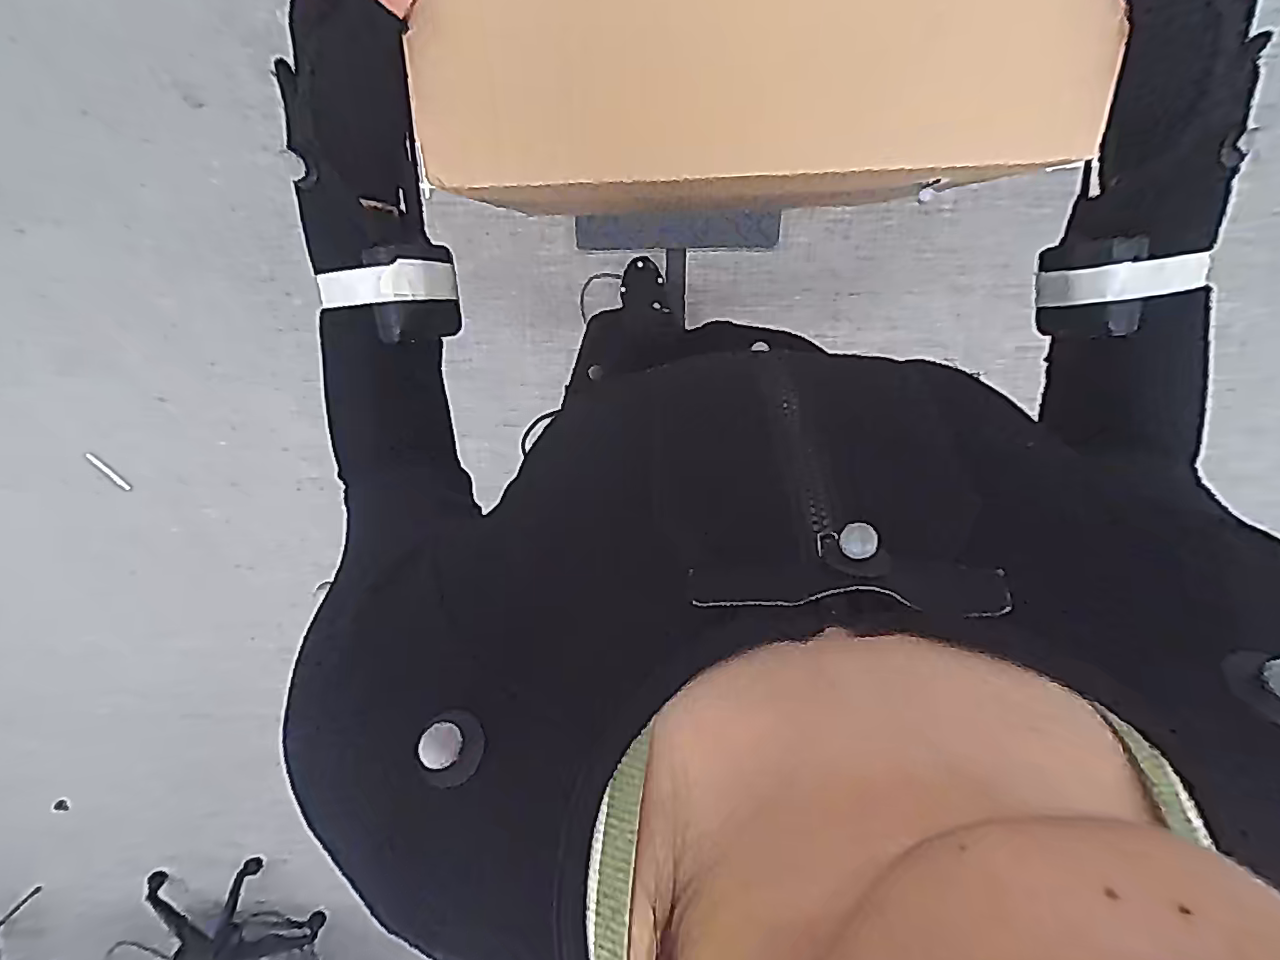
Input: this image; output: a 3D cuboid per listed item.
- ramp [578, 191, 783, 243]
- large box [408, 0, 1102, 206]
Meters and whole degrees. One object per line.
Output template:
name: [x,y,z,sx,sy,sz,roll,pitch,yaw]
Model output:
ramp: [0.087,-1.025,1.089,0.509,0.206,0.991,-2,109,1]
large box: [0.064,-0.398,0.416,0.408,0.320,0.320,-2,113,1]
